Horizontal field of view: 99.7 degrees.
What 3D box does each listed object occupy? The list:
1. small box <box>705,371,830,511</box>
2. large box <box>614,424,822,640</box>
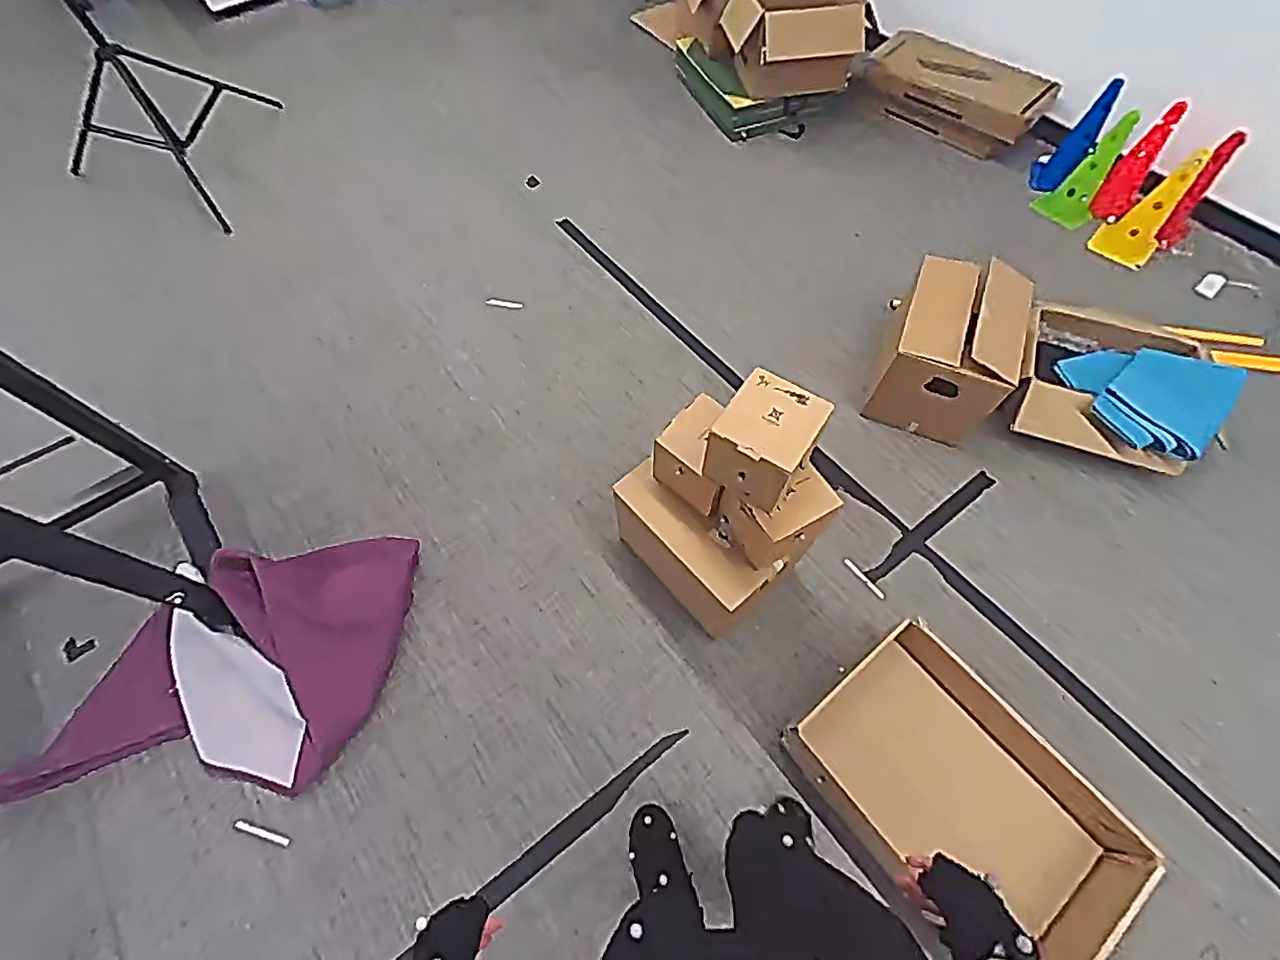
[{"bbox_3d":[0.238,-0.068,1.050,0.168,0.176,0.179,32,68,16],"label":"small box"},{"bbox_3d":[0.178,0.138,1.402,0.320,0.320,0.408,-39,69,-17],"label":"large box"}]
